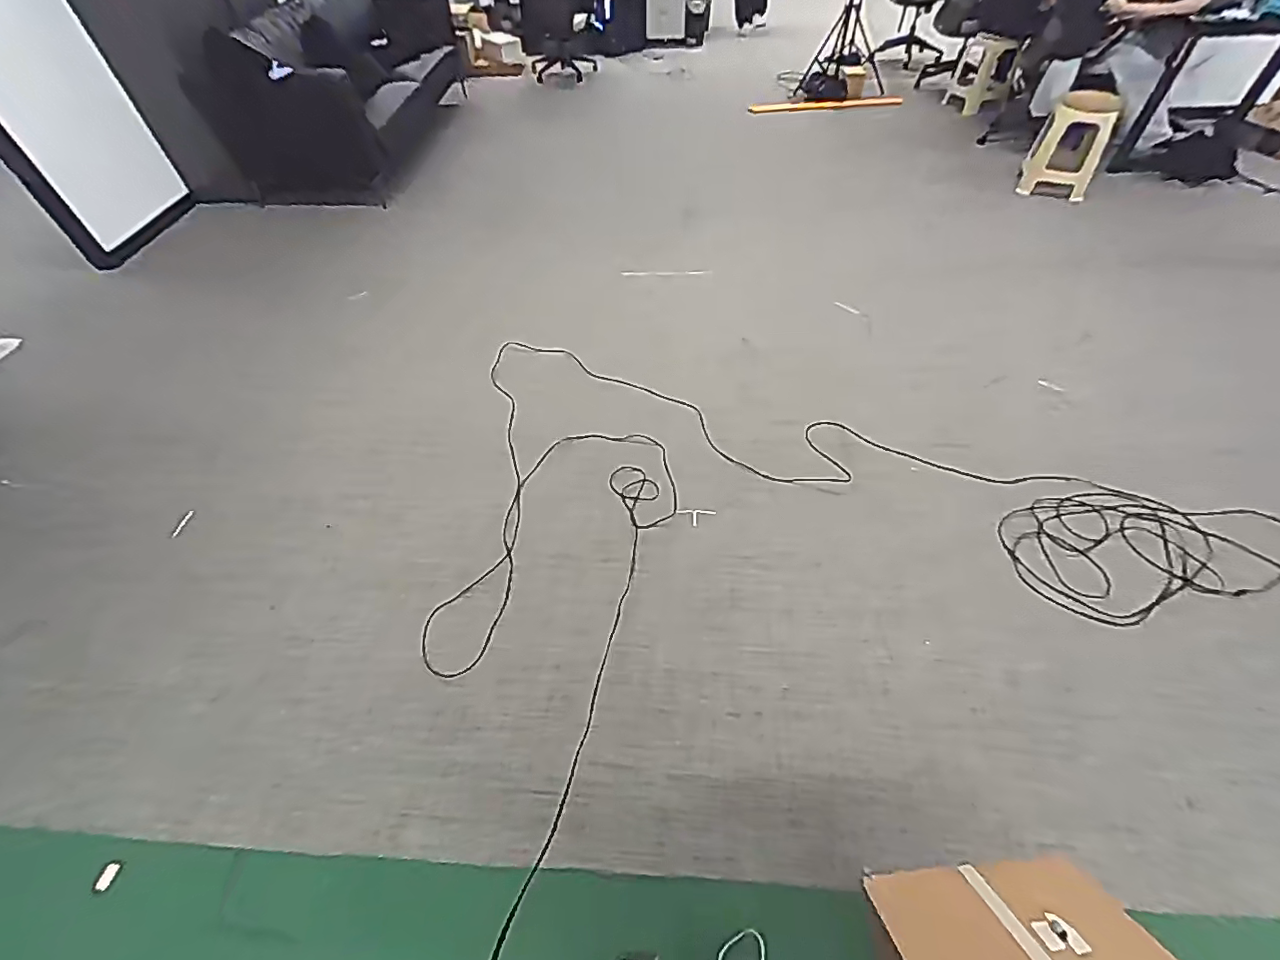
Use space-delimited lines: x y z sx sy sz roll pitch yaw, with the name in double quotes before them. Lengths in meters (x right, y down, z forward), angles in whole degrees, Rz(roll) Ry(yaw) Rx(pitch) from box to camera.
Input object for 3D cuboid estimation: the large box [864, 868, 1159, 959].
"large box" 0.512 0.761 0.630 0.320 0.408 0.320 -6 90 1
